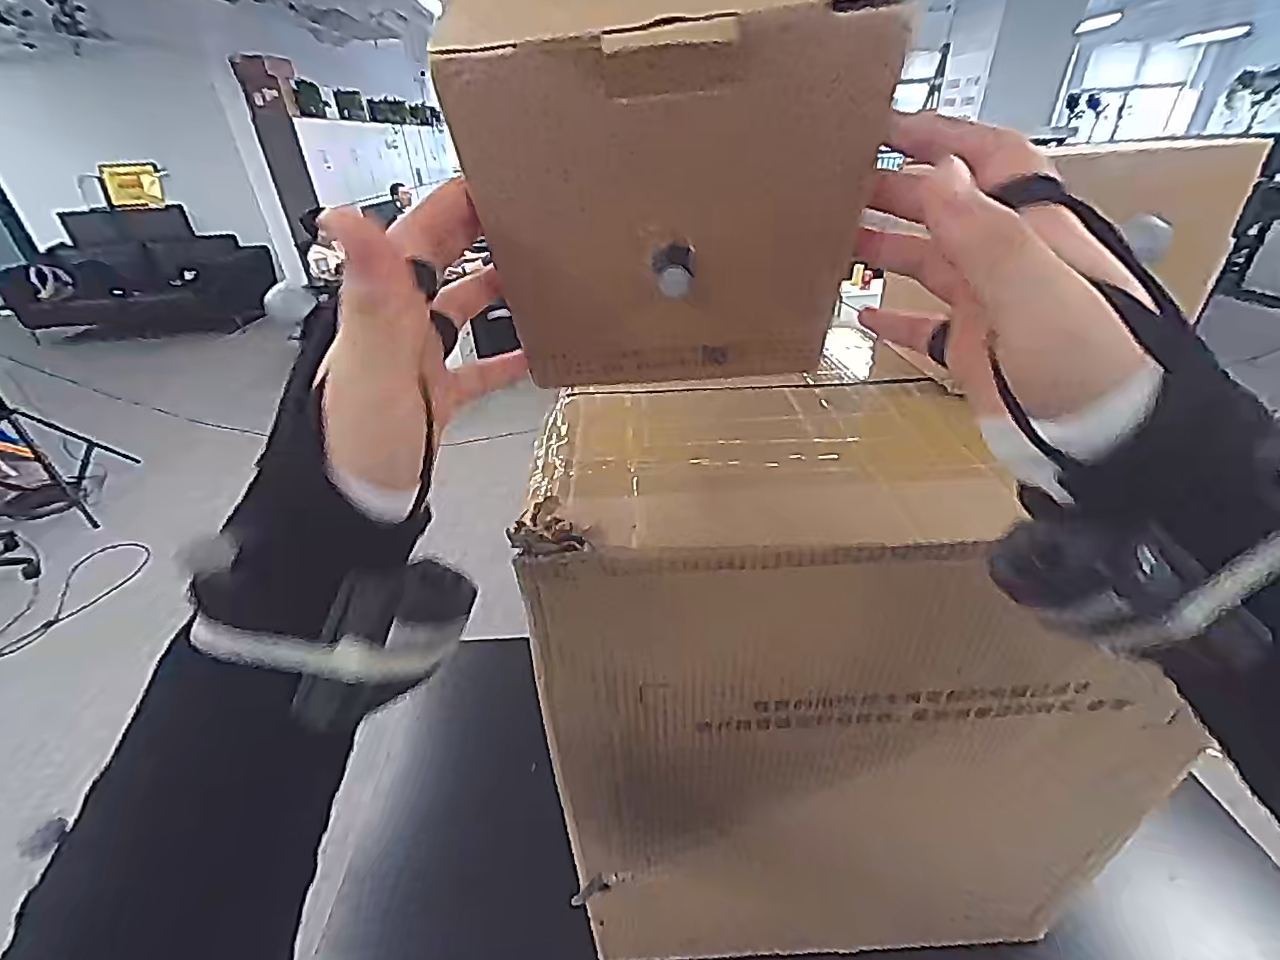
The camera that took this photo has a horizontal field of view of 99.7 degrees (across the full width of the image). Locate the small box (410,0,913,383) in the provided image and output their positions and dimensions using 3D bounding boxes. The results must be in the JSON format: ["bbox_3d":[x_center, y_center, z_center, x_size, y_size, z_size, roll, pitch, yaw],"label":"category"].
[{"bbox_3d":[0.010,-0.165,0.281,0.168,0.176,0.179,-4,59,3],"label":"small box"}]

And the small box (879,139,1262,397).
[{"bbox_3d":[0.322,-0.181,0.459,0.168,0.176,0.179,-5,31,3],"label":"small box"}]
